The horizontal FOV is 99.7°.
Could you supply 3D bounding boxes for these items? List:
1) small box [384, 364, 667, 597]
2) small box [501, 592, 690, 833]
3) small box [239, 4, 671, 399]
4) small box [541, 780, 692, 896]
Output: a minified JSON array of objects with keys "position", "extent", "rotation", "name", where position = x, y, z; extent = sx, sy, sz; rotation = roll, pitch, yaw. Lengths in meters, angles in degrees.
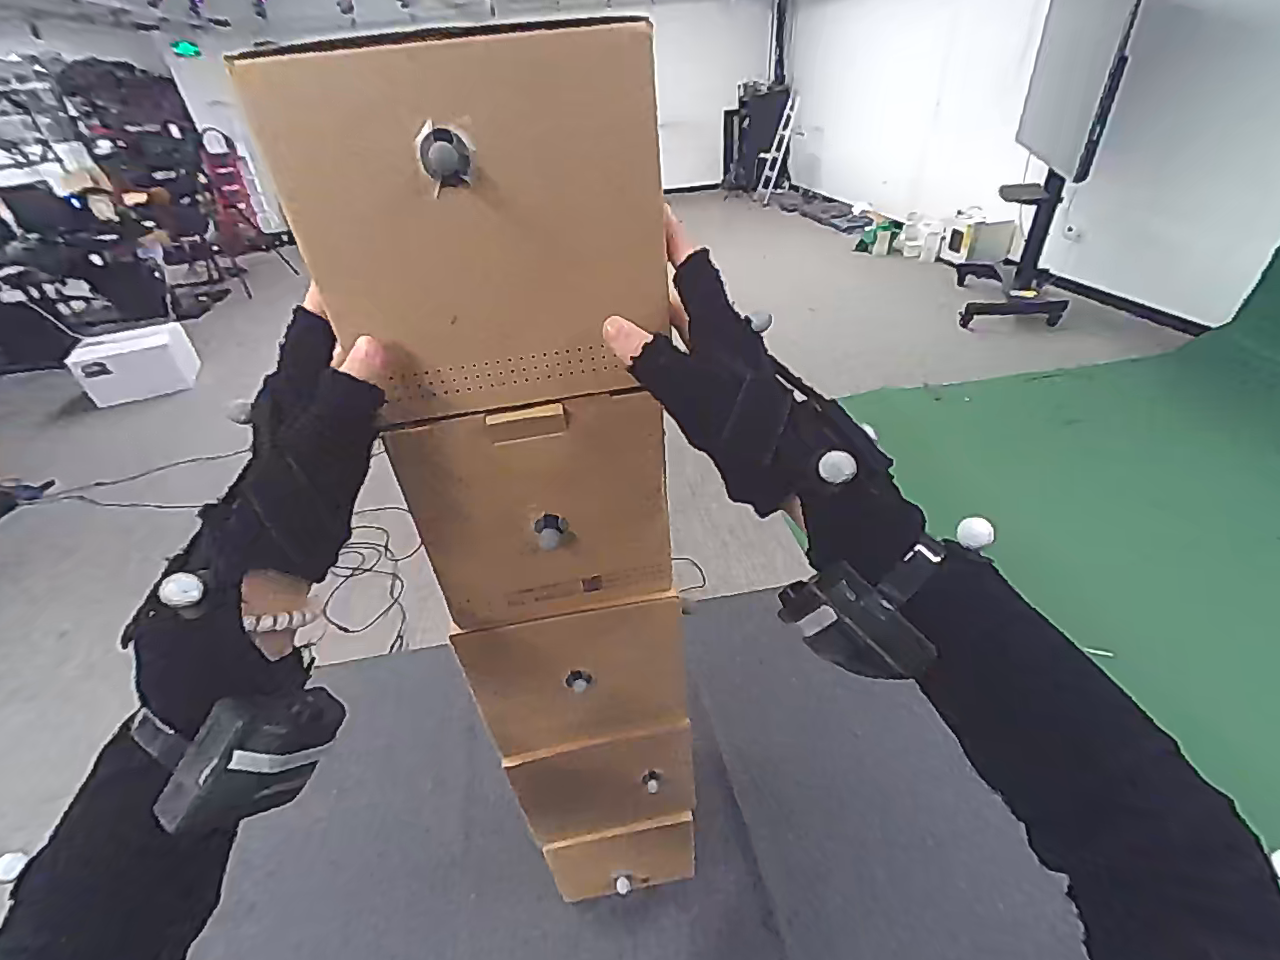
[{"position":[-0.076,-0.025,0.431],"extent":[0.168,0.176,0.179],"rotation":[-9,35,-6],"name":"small box"},{"position":[-0.048,0.254,0.600],"extent":[0.179,0.176,0.168],"rotation":[-10,34,-6],"name":"small box"},{"position":[-0.084,-0.162,0.336],"extent":[0.179,0.176,0.168],"rotation":[-9,34,-4],"name":"small box"},{"position":[-0.031,0.388,0.692],"extent":[0.168,0.176,0.179],"rotation":[-8,36,-4],"name":"small box"}]
